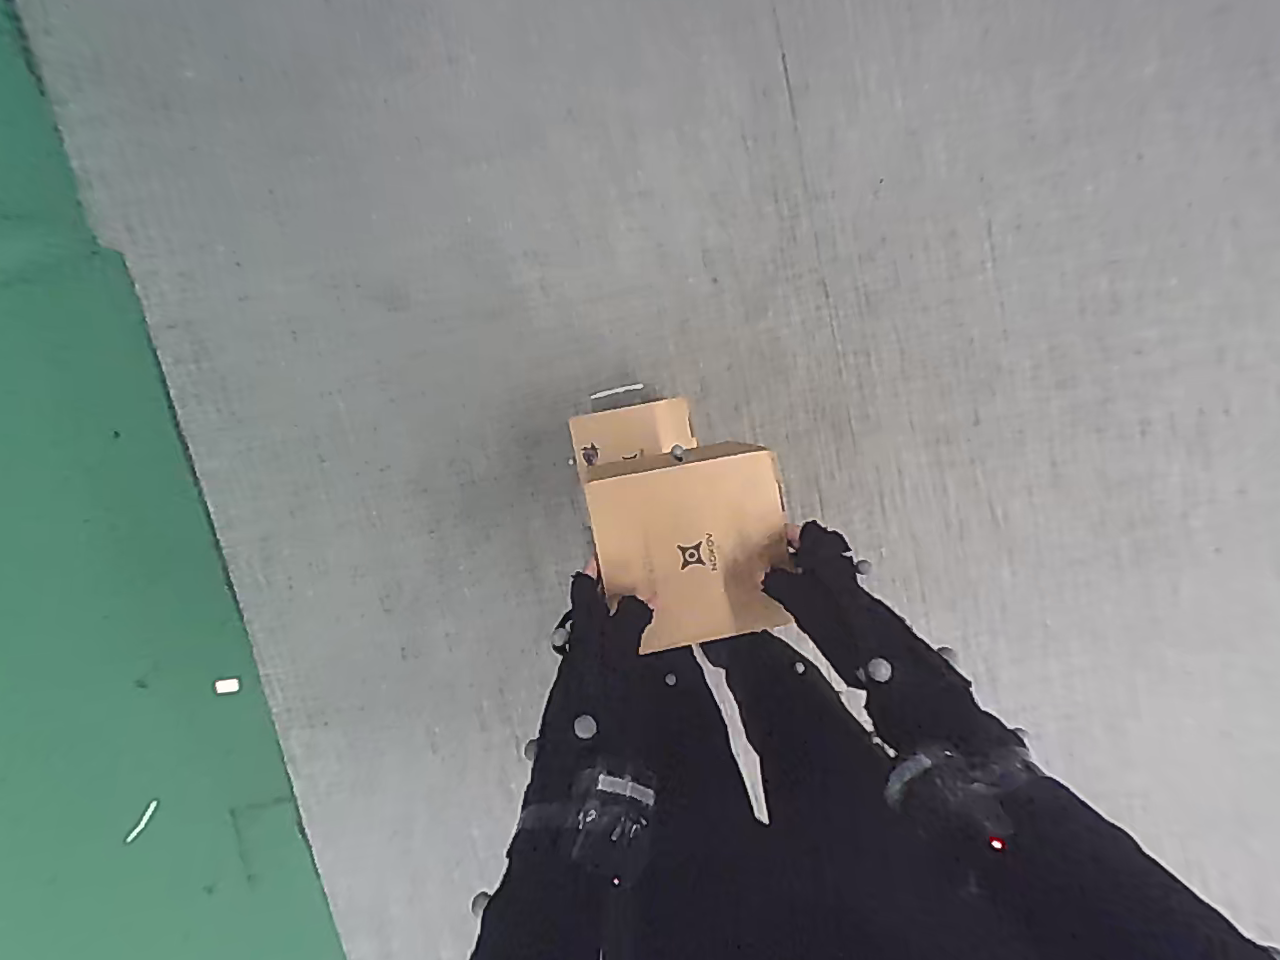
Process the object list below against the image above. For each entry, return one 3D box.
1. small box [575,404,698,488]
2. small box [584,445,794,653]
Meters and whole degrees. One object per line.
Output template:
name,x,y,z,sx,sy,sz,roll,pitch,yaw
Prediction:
small box,0.001,-0.029,0.871,0.179,0.176,0.168,-10,96,1
small box,0.043,0.059,0.576,0.179,0.176,0.168,-11,96,-1
